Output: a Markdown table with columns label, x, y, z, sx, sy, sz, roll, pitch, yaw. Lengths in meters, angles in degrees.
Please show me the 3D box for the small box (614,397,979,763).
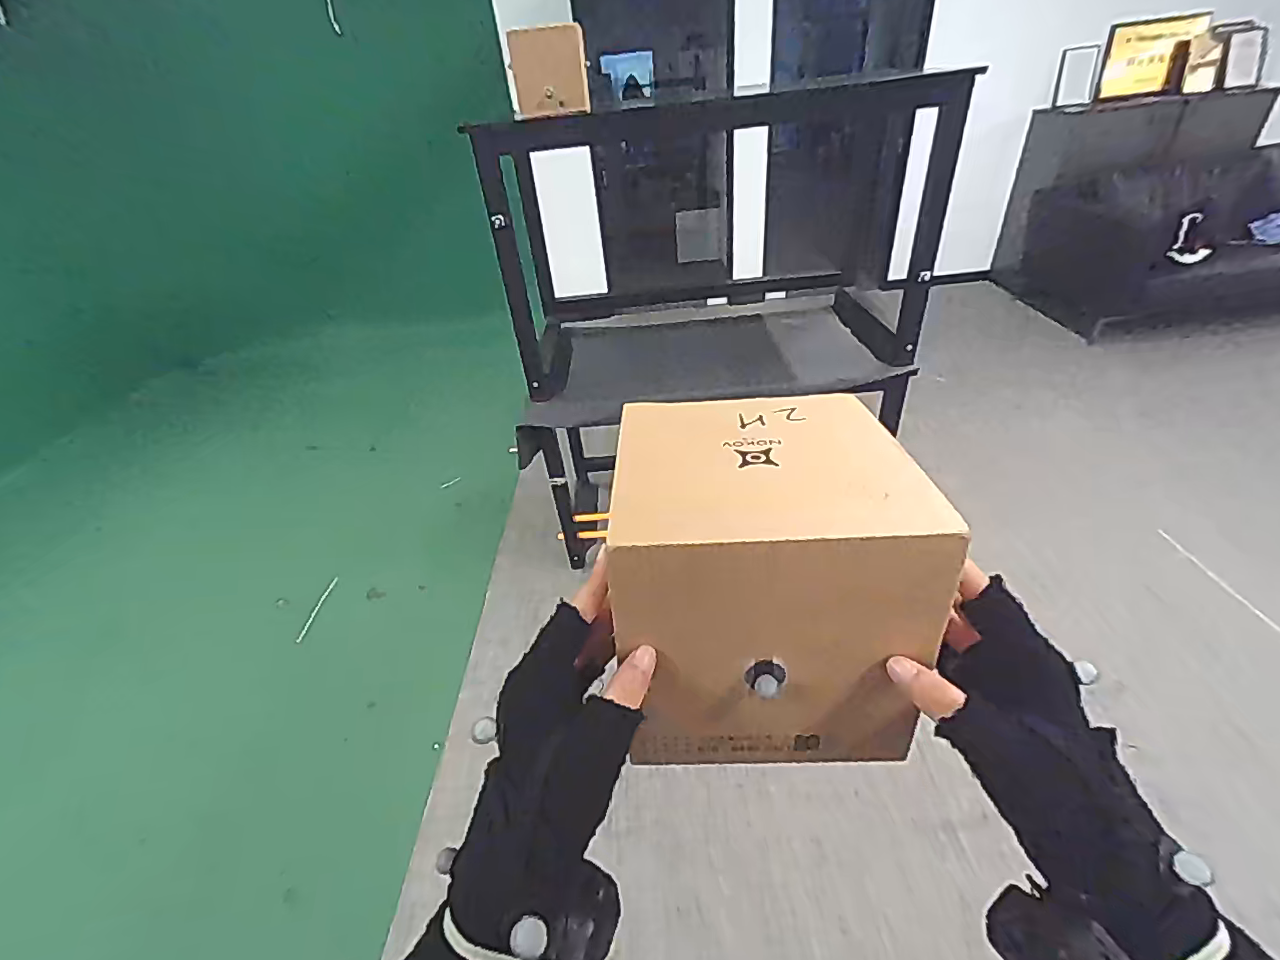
| label | x | y | z | sx | sy | sz | roll | pitch | yaw |
| --- | --- | --- | --- | --- | --- | --- | --- | --- | --- |
| small box | 0.077 | 0.058 | 0.351 | 0.168 | 0.176 | 0.179 | -2 | 29 | 3 |
